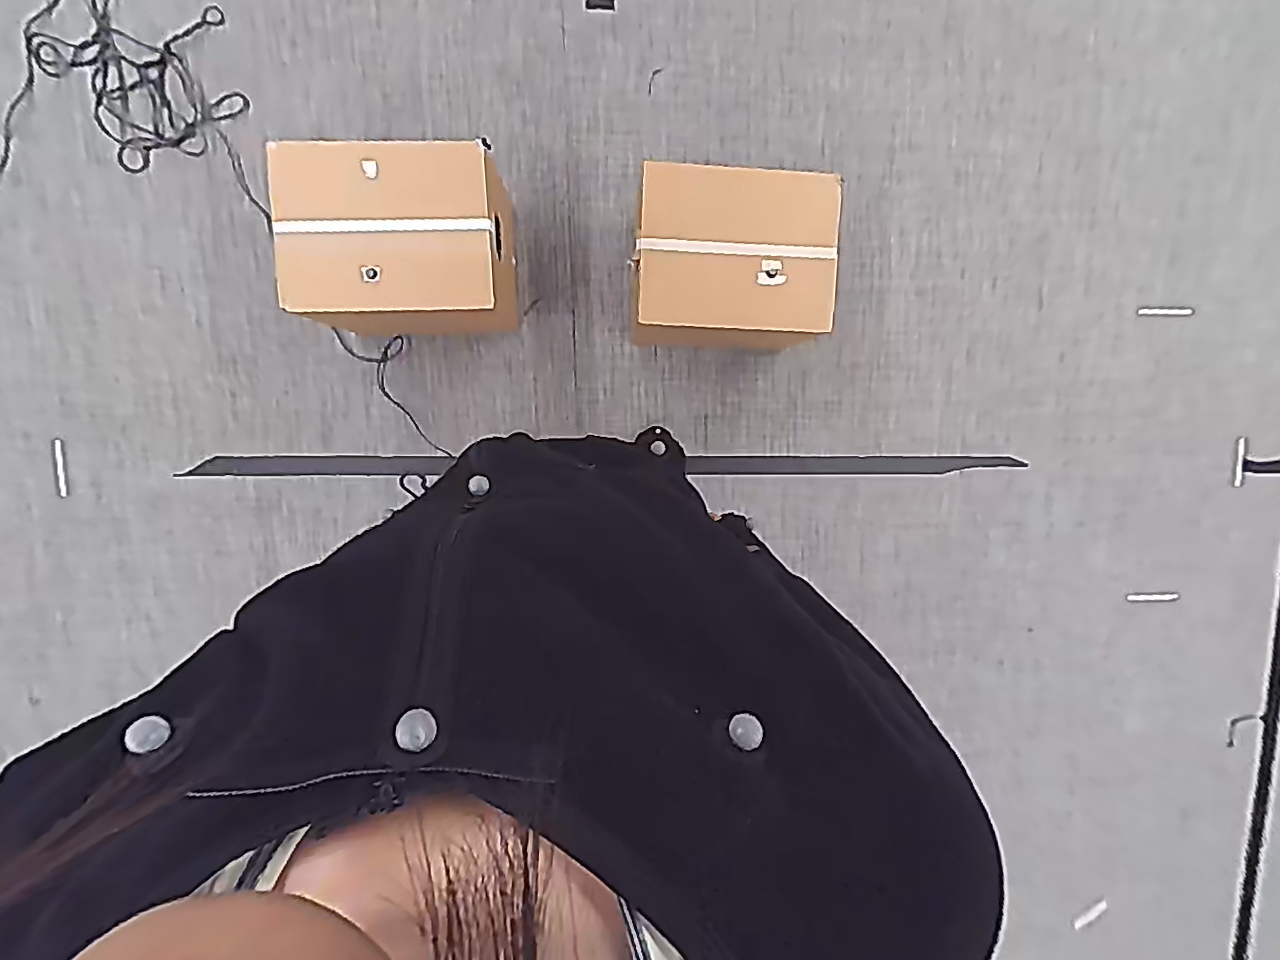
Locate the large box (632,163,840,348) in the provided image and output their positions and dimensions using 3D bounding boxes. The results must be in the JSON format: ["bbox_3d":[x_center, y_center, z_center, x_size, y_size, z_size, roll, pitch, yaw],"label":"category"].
[{"bbox_3d":[0.192,-0.485,1.244,0.408,0.320,0.320,2,97,-5],"label":"large box"}]
